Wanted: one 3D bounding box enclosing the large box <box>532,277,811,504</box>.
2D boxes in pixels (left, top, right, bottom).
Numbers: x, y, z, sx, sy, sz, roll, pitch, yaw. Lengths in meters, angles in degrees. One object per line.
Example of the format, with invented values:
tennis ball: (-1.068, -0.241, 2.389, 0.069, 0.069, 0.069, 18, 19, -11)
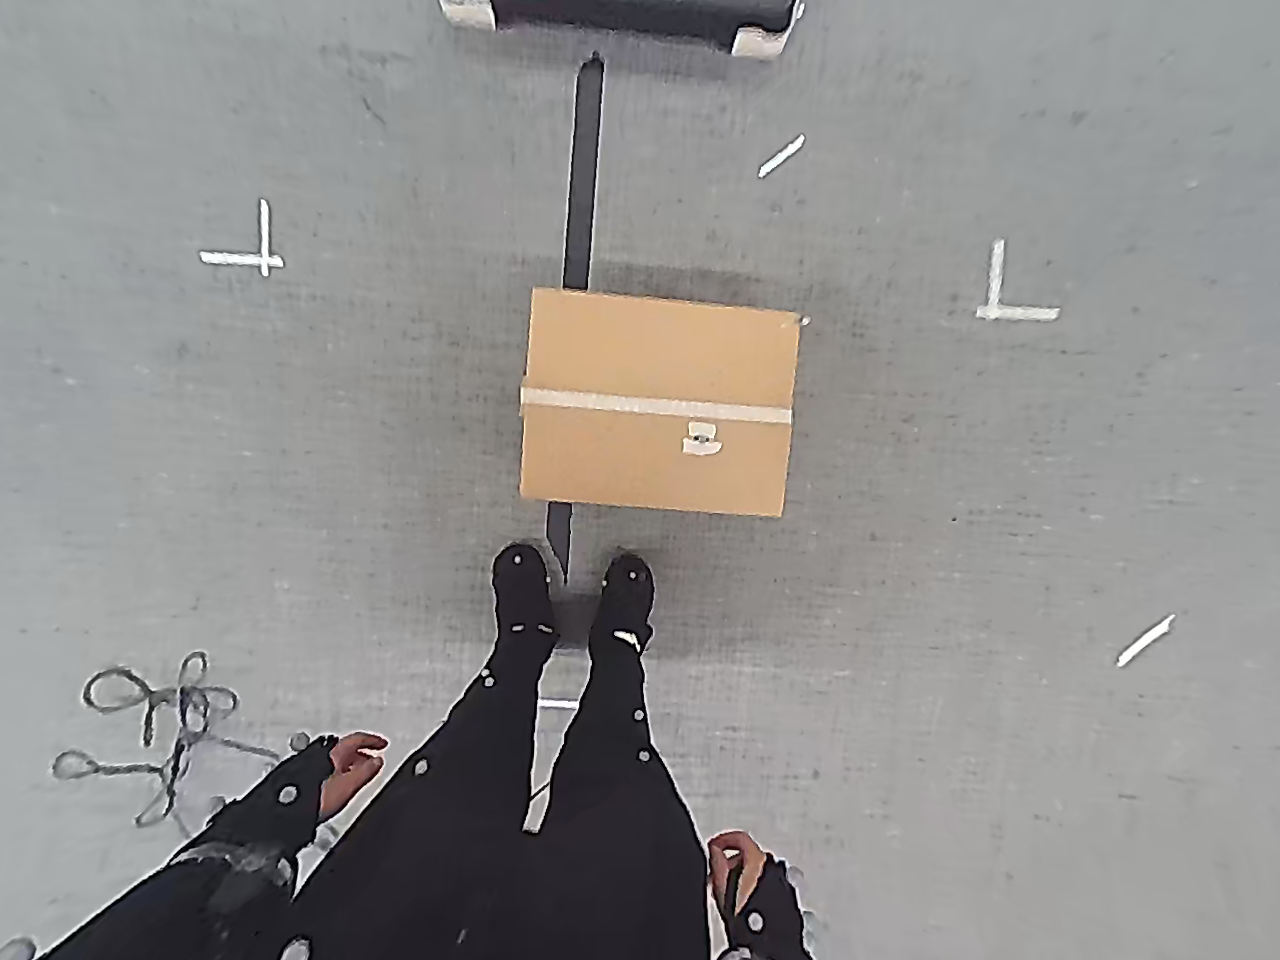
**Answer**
large box: (0.037, -0.138, 0.946, 0.408, 0.320, 0.320, 5, 95, -4)
